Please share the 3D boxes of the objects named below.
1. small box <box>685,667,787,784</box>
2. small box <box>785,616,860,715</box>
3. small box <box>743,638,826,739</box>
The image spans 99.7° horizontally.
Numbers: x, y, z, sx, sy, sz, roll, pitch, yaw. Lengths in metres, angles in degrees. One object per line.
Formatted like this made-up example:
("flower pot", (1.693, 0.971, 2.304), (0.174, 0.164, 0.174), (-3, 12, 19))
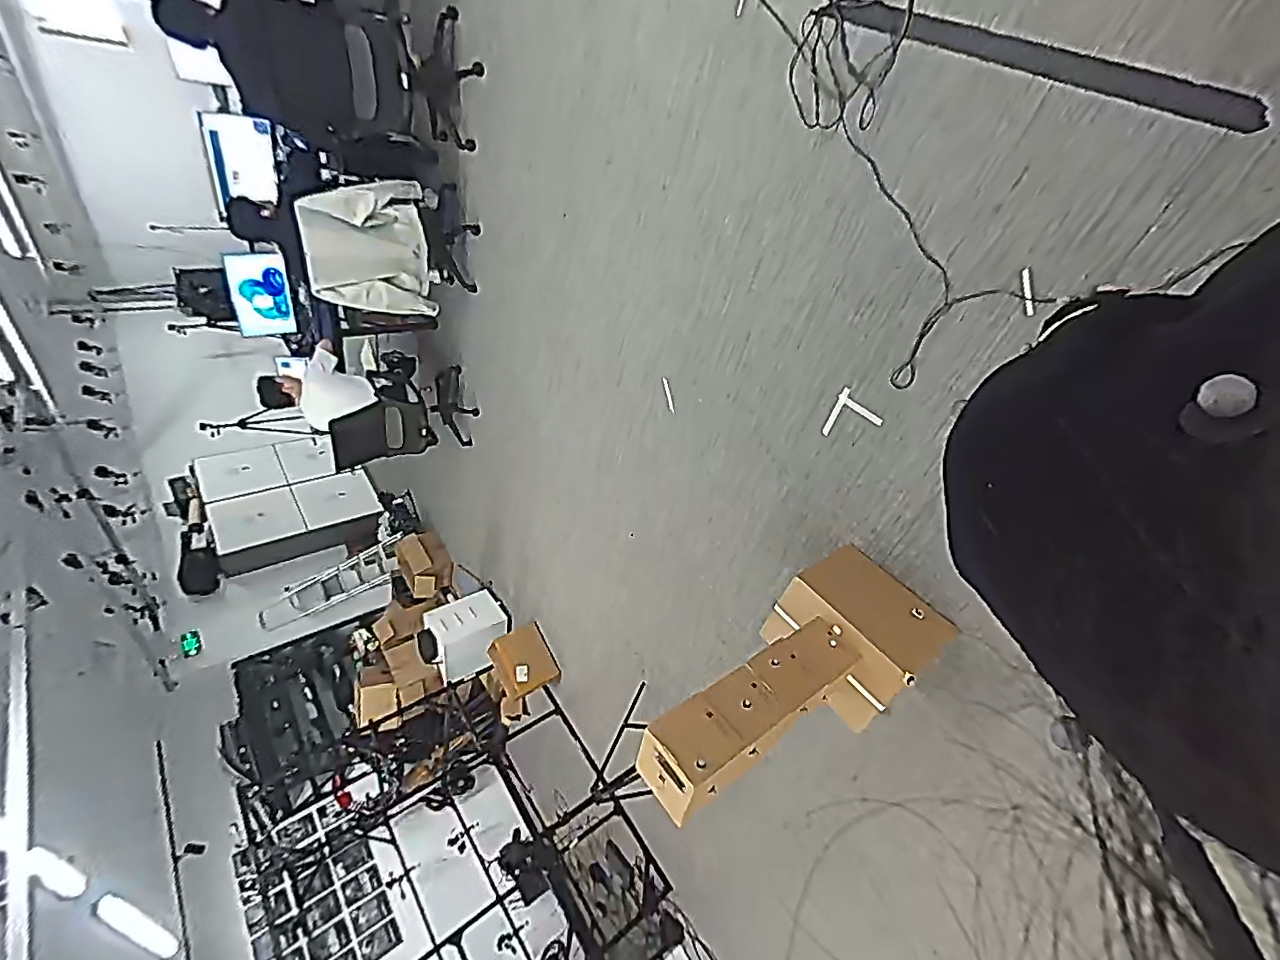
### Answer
("small box", (0.243, 0.608, 1.358), (0.168, 0.176, 0.179), (41, 134, 37))
("small box", (0.496, 0.526, 1.549), (0.168, 0.176, 0.179), (44, 135, 32))
("small box", (0.369, 0.561, 1.454), (0.168, 0.176, 0.179), (44, 137, 34))
